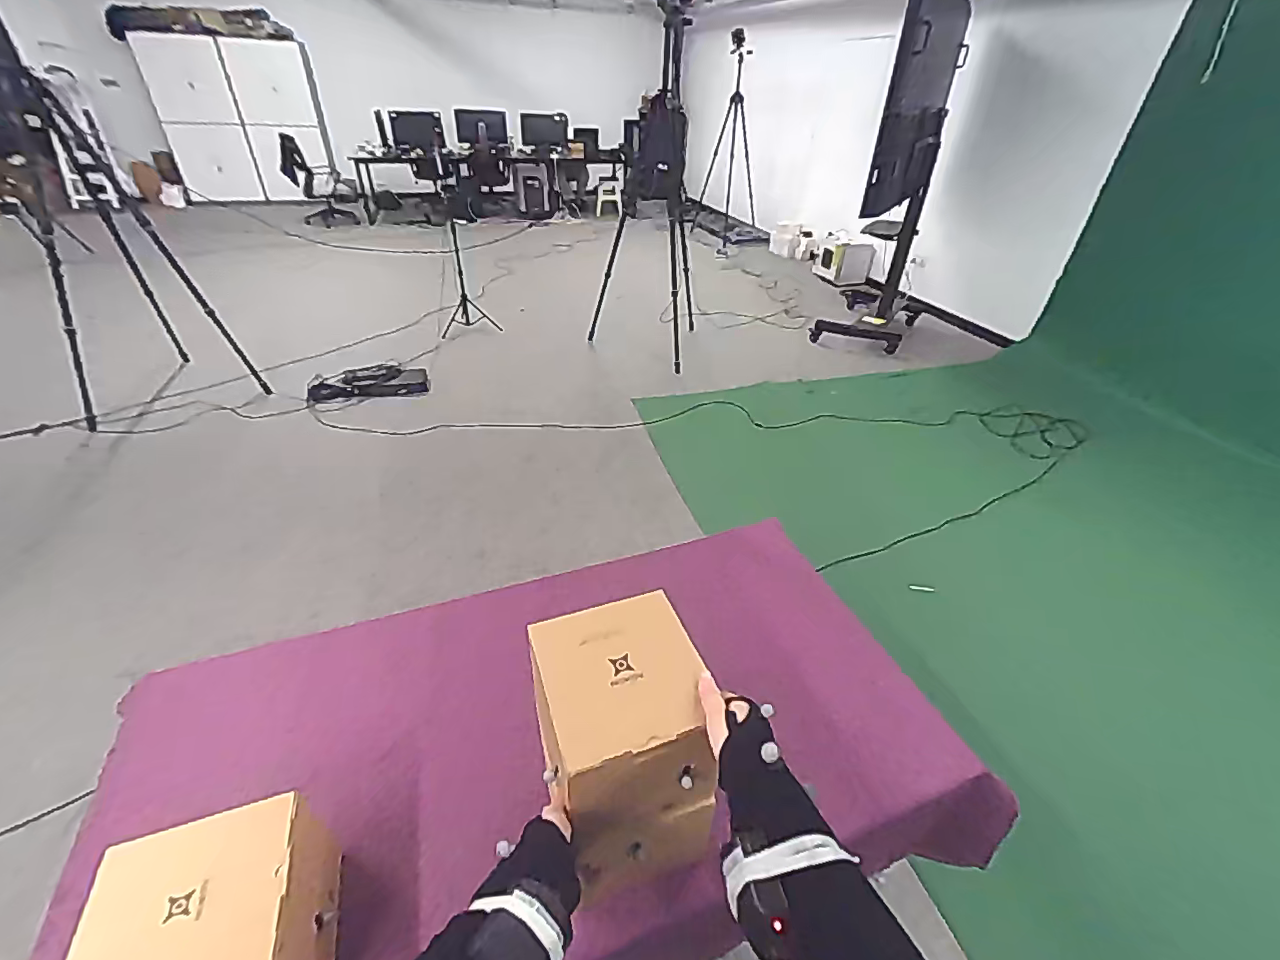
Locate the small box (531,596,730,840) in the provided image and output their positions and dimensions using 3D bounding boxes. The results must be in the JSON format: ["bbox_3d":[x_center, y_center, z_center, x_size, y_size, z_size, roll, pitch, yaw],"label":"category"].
[{"bbox_3d":[-0.019,0.265,0.605,0.168,0.176,0.179,-10,37,-19],"label":"small box"}]

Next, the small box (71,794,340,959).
[{"bbox_3d":[-0.439,0.477,0.566,0.179,0.176,0.168,-10,37,-19],"label":"small box"}]

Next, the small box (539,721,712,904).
[{"bbox_3d":[-0.024,0.401,0.695,0.179,0.176,0.168,-10,38,-16],"label":"small box"}]
